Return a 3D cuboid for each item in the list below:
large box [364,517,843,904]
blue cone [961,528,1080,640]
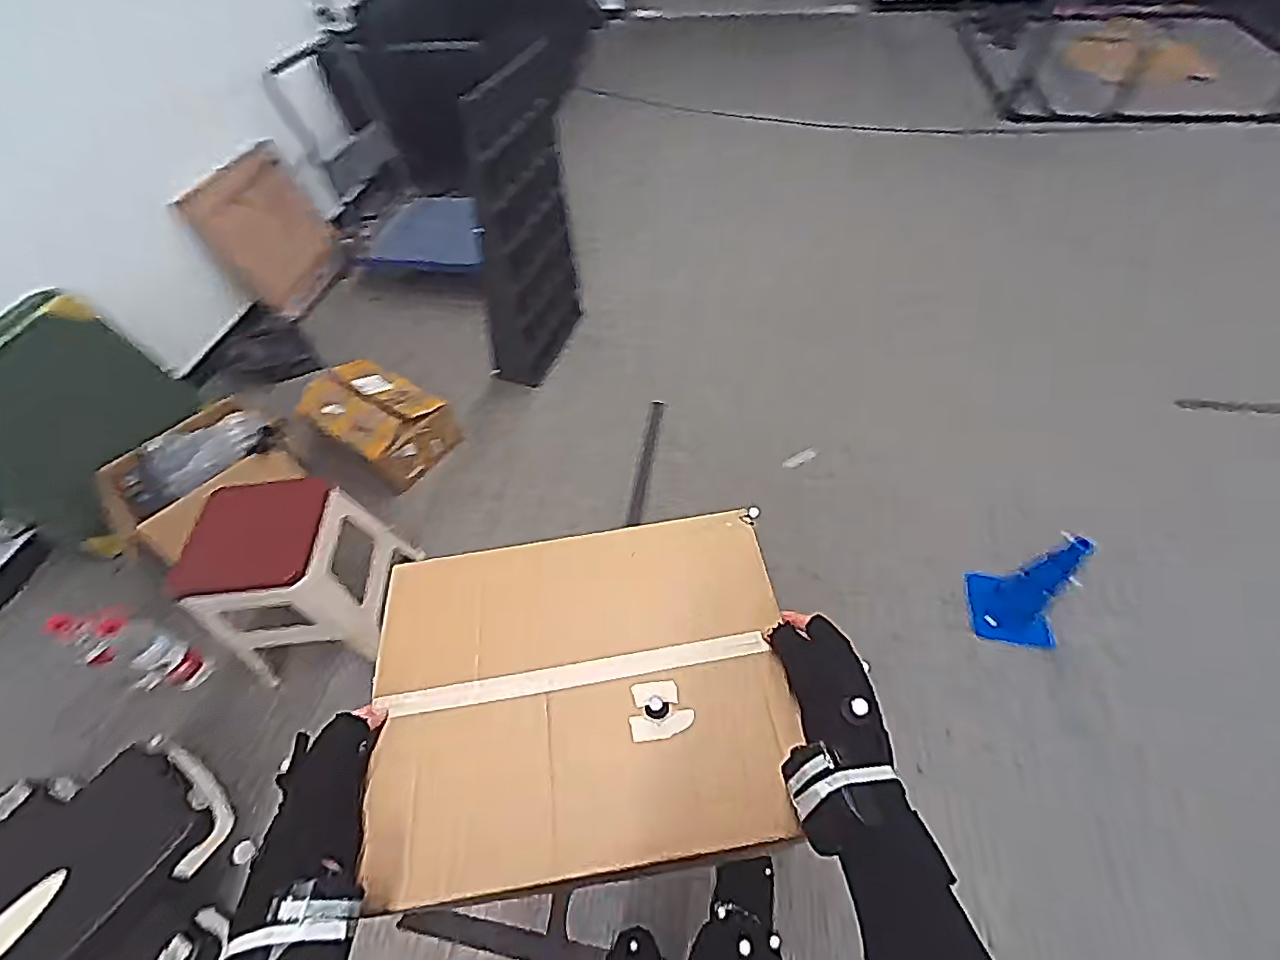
[{"bbox_3d":[-0.038,0.280,0.644,0.408,0.320,0.320,-7,53,-1],"label":"large box"},{"bbox_3d":[0.999,0.247,1.376,0.193,0.380,0.192,8,53,10],"label":"blue cone"}]
